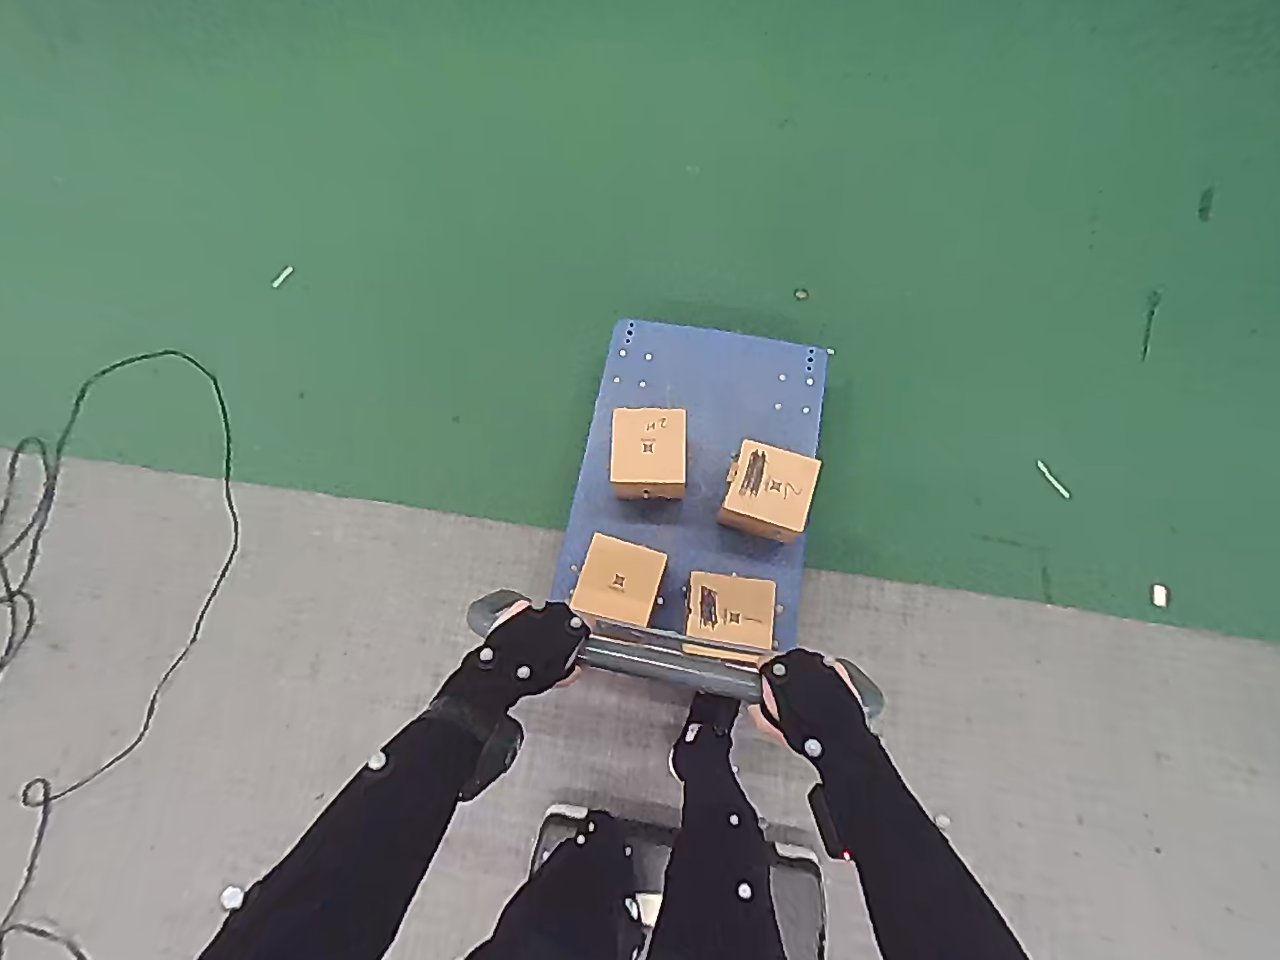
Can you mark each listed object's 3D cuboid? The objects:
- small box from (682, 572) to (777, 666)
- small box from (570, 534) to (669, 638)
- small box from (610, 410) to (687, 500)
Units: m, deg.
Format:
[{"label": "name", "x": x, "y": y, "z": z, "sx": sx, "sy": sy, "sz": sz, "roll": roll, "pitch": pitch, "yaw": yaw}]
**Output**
[{"label": "small box", "x": 0.186, "y": 0.299, "z": 1.166, "sx": 0.179, "sy": 0.176, "sz": 0.168, "roll": 7, "pitch": 76, "yaw": 3}, {"label": "small box", "x": -0.040, "y": 0.236, "z": 1.196, "sx": 0.168, "sy": 0.176, "sz": 0.179, "roll": 17, "pitch": 77, "yaw": 7}, {"label": "small box", "x": 0.024, "y": -0.052, "z": 1.270, "sx": 0.168, "sy": 0.176, "sz": 0.179, "roll": 2, "pitch": 75, "yaw": 3}]
